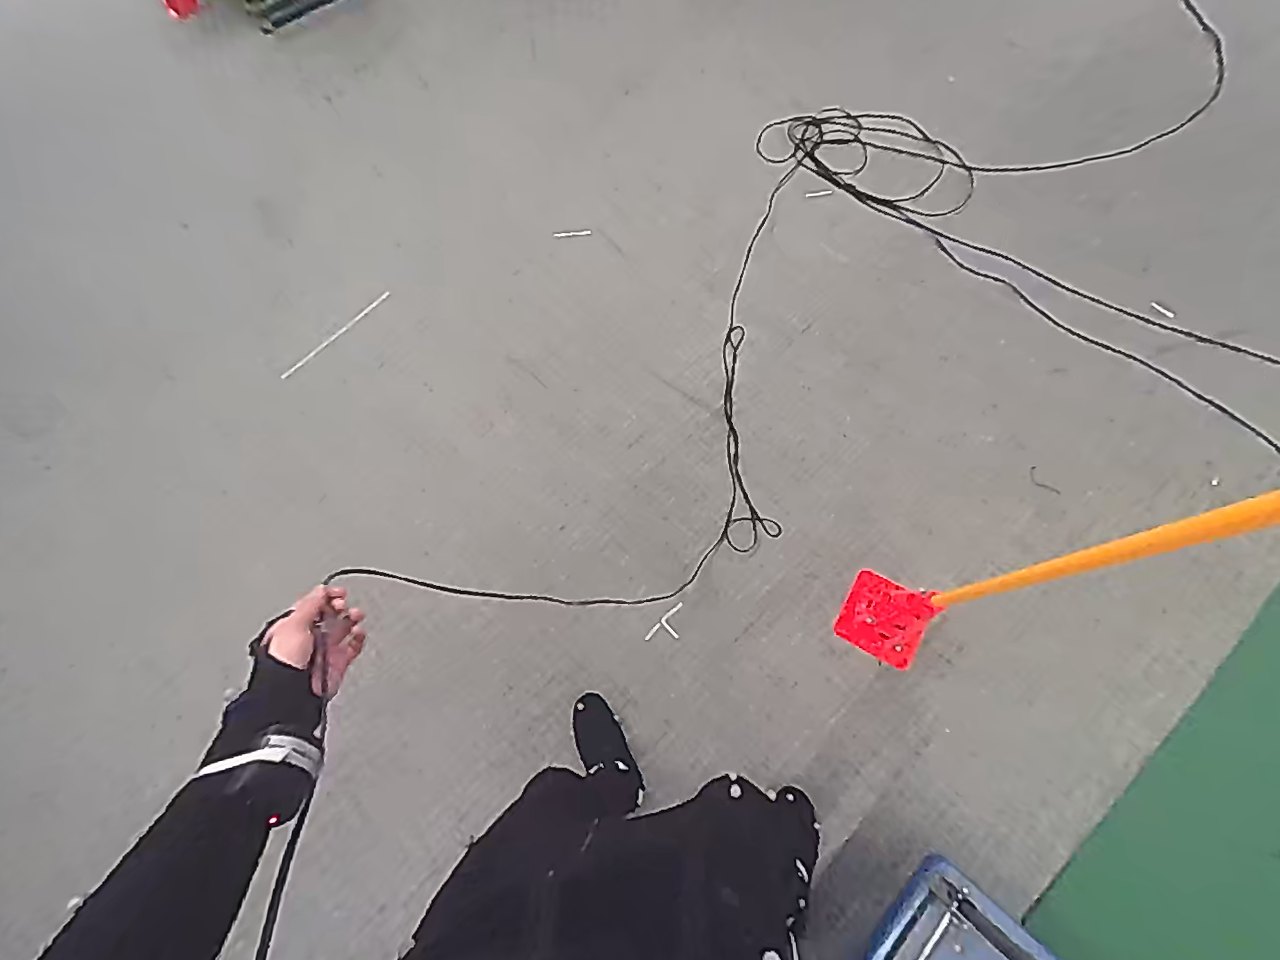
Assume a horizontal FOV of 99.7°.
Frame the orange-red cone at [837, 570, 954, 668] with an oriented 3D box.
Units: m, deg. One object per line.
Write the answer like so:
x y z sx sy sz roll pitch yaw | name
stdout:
0.616 0.296 1.232 0.198 0.360 0.199 29 75 15 | orange-red cone
